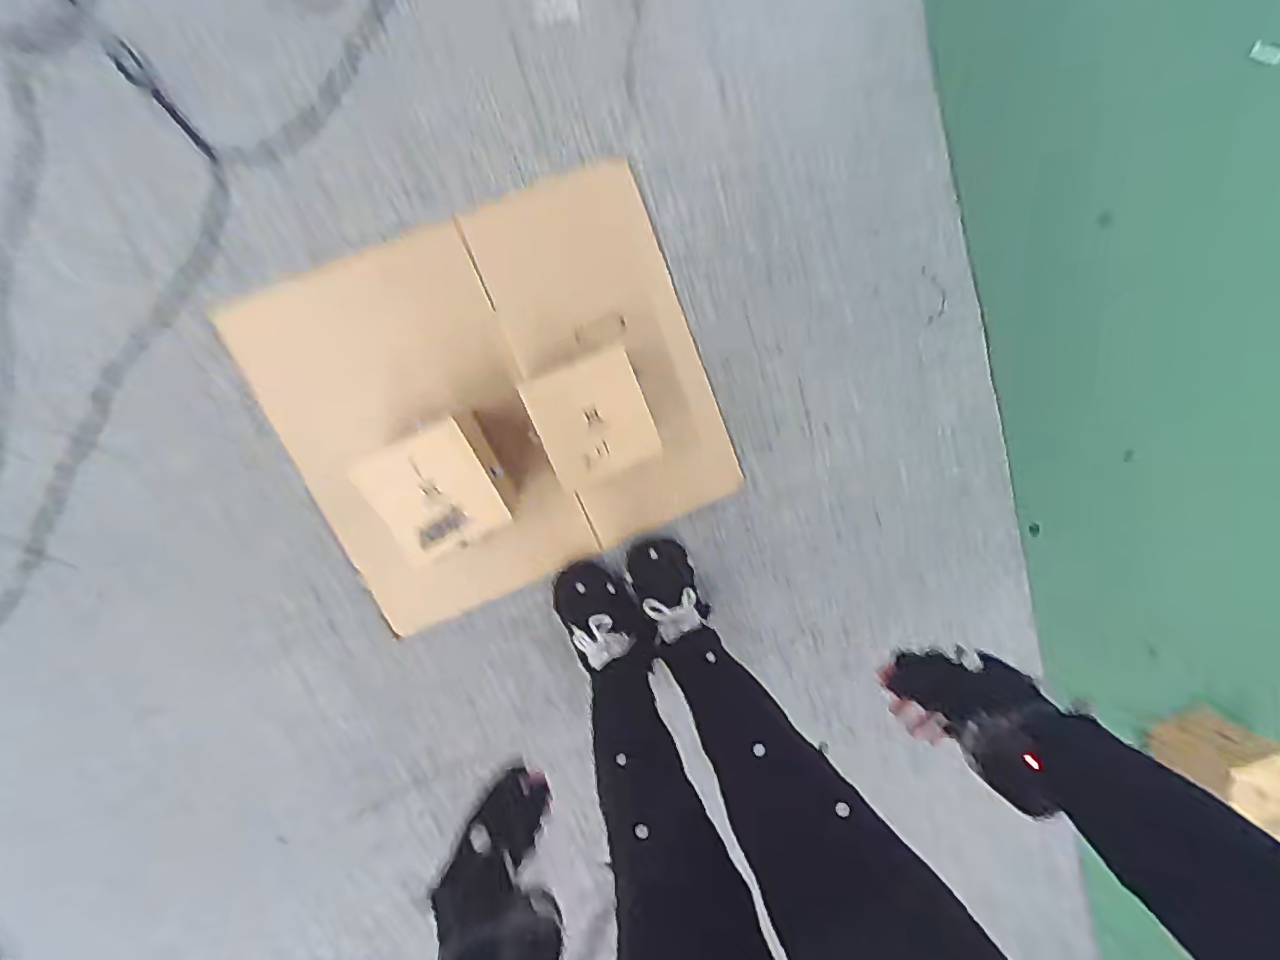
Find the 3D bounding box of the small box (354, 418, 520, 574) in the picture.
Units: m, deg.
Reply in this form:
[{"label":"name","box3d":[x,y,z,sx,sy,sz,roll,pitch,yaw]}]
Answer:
[{"label":"small box","box3d":[-0.305,0.015,0.857,0.168,0.176,0.179,-28,103,-3]}]

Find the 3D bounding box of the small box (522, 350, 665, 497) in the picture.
[{"label":"small box","box3d":[-0.079,-0.095,0.877,0.168,0.176,0.179,-23,103,-3]}]
